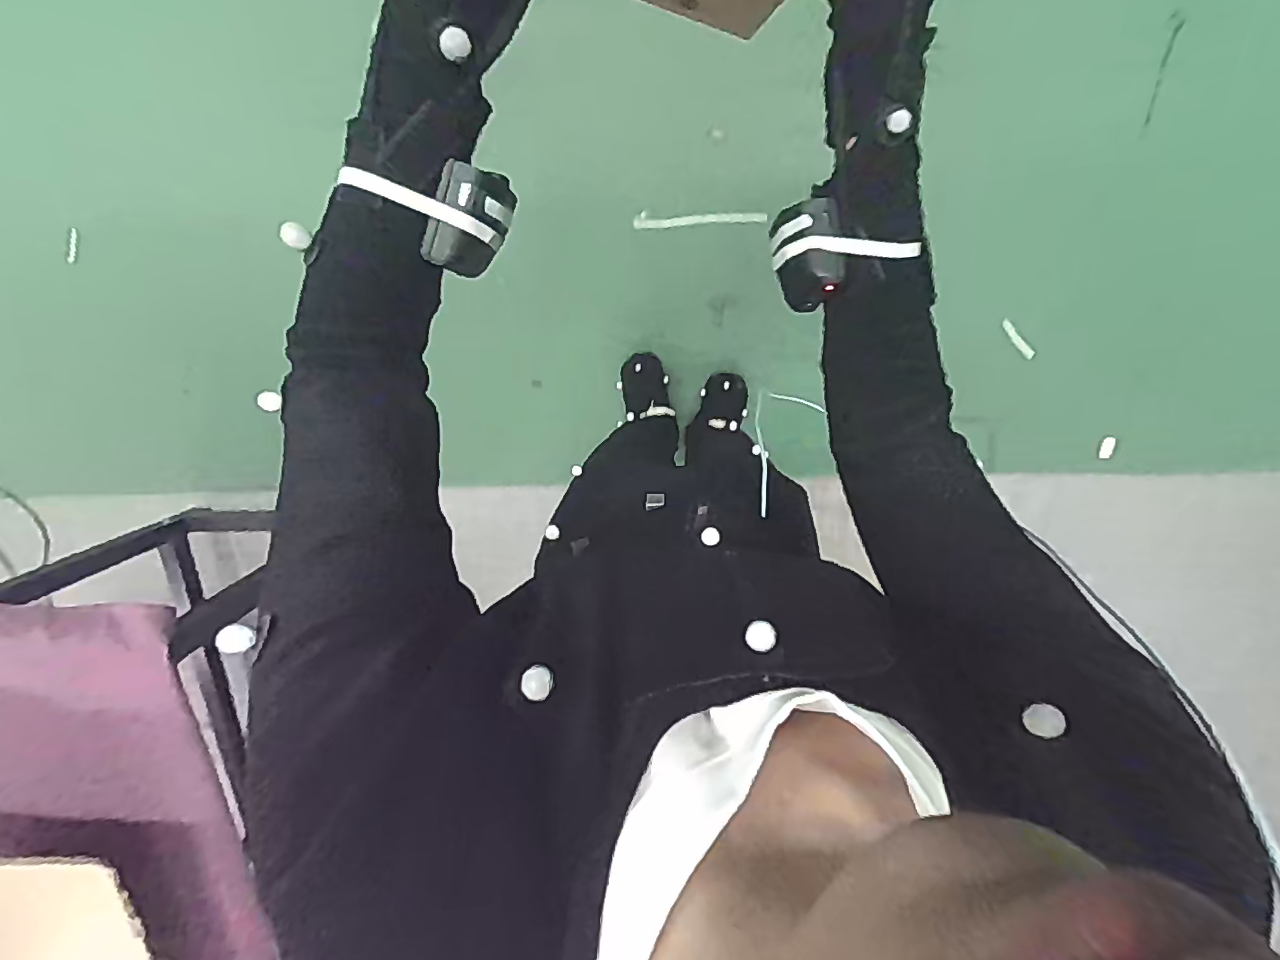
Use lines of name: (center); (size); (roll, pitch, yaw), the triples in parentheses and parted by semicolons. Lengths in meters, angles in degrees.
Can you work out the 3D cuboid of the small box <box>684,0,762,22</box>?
small box: (0.043, -0.430, 0.320); (0.168, 0.176, 0.179); (6, 103, -17)
